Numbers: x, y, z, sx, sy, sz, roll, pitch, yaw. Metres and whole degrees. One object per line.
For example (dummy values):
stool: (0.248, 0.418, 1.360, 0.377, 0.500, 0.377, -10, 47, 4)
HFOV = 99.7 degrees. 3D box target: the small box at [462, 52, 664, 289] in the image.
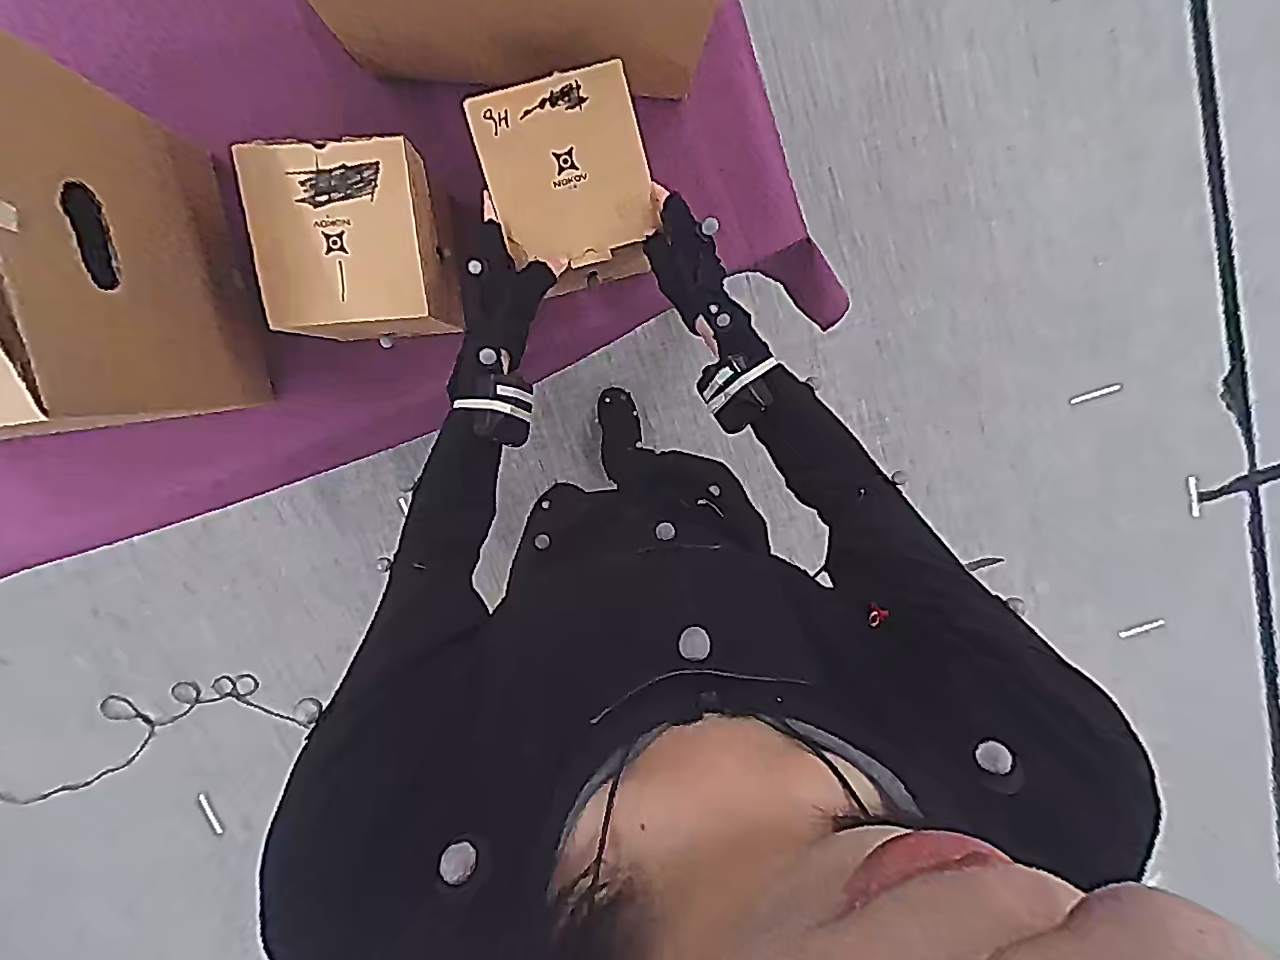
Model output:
small box: (-0.080, -0.330, 0.620, 0.168, 0.176, 0.179, -17, 101, -2)

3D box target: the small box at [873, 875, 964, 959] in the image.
small box: (0.897, 1.458, 1.769, 0.168, 0.176, 0.179, 35, 95, -11)
